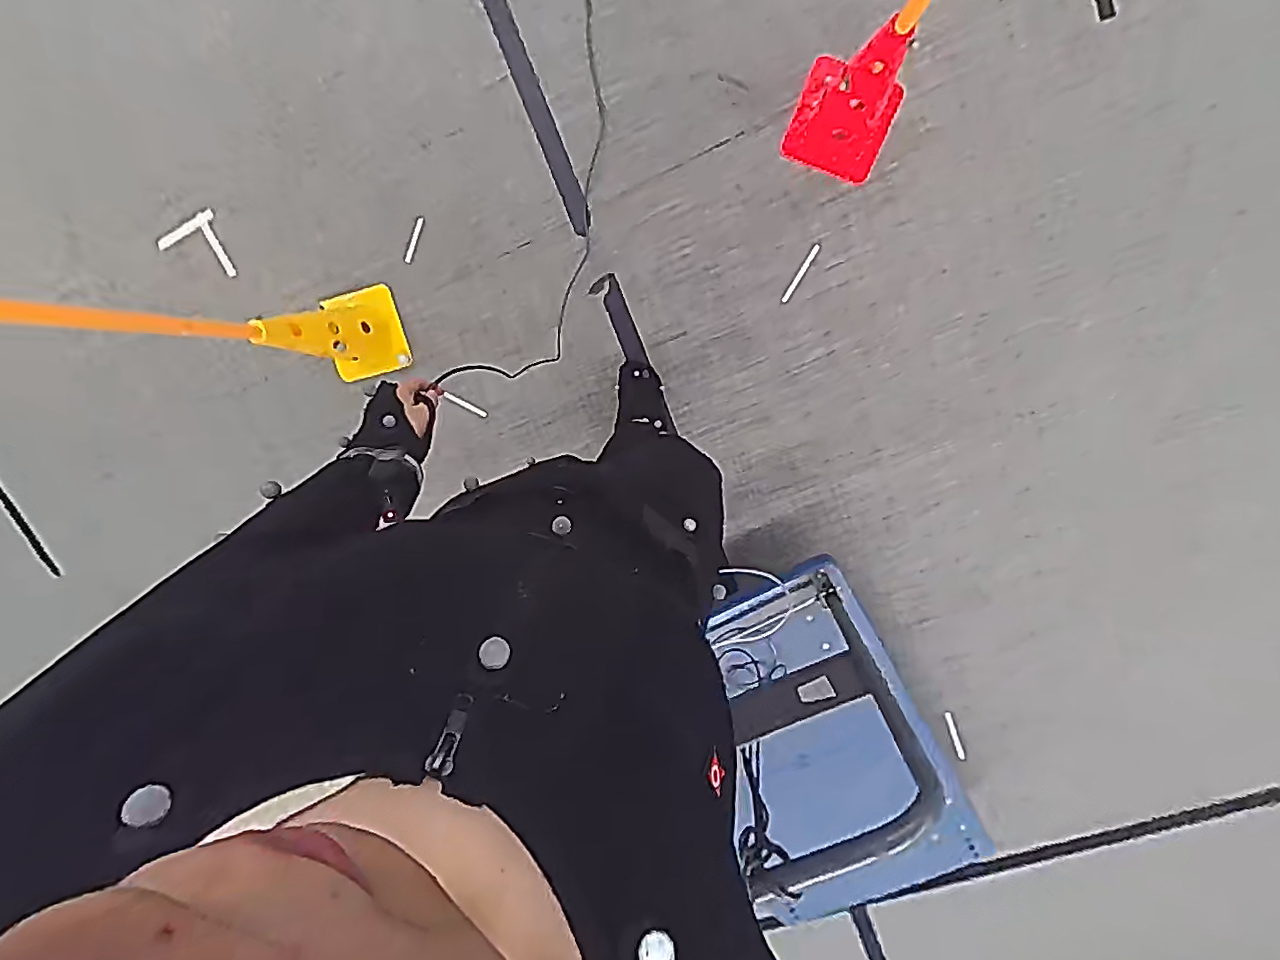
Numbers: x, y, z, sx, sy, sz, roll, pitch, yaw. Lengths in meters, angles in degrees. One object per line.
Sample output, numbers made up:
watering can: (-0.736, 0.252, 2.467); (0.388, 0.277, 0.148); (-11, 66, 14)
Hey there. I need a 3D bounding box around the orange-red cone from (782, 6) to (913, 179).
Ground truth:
orange-red cone: (0.402, -0.715, 0.963); (0.198, 0.360, 0.199); (23, 106, 0)
